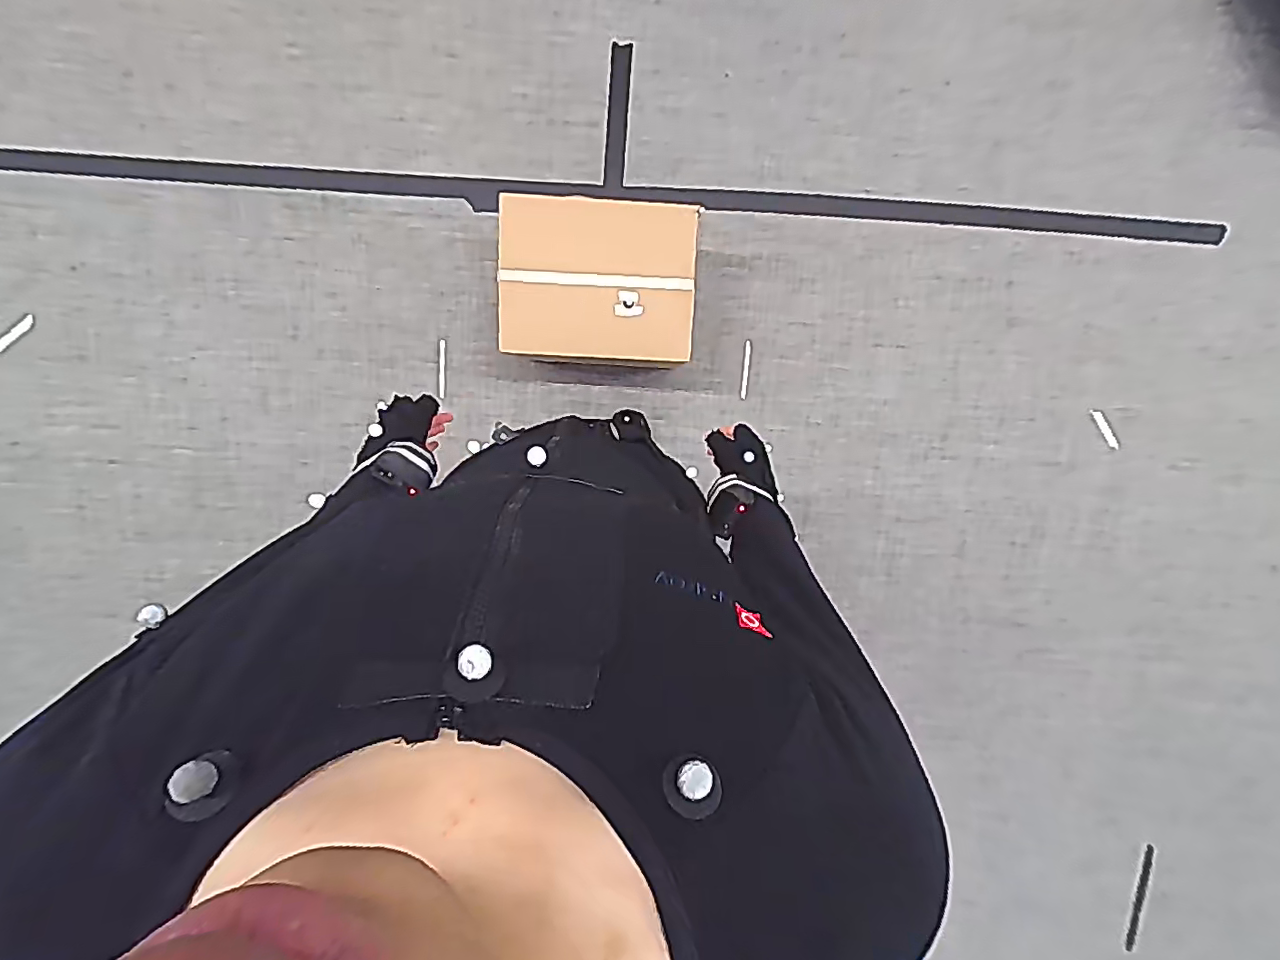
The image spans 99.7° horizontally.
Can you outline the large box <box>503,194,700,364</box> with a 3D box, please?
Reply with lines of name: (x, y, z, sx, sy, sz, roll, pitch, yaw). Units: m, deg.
large box: (-0.089, -0.439, 1.259, 0.408, 0.320, 0.320, 2, 100, -3)
